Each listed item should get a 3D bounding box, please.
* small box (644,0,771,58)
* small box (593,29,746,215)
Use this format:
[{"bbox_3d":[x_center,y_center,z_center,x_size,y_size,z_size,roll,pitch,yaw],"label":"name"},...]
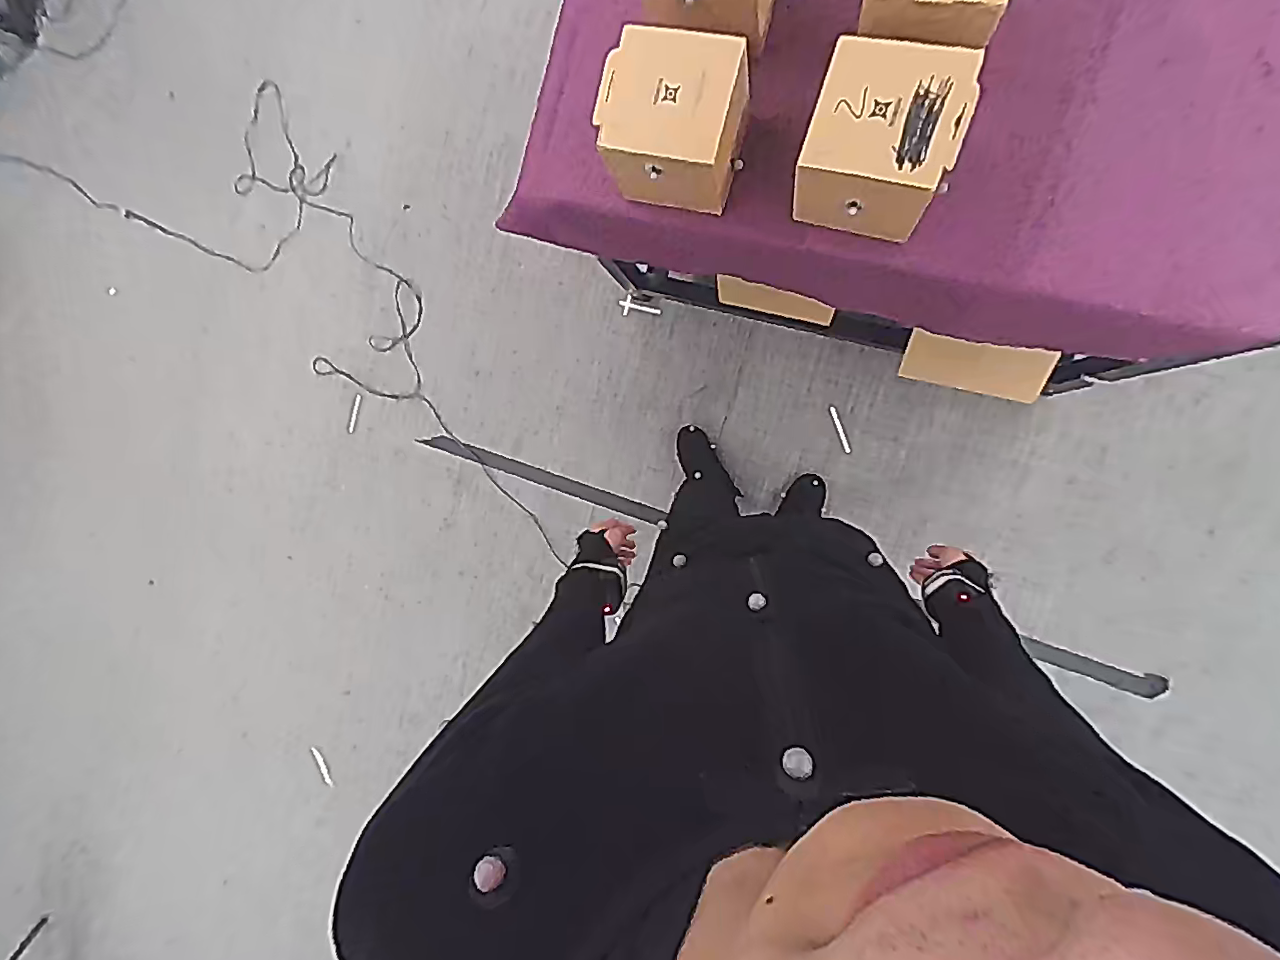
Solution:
[{"bbox_3d":[0.102,-0.759,0.790,0.179,0.176,0.168,15,96,12],"label":"small box"},{"bbox_3d":[0.052,-0.524,0.814,0.179,0.176,0.168,16,96,11],"label":"small box"}]
